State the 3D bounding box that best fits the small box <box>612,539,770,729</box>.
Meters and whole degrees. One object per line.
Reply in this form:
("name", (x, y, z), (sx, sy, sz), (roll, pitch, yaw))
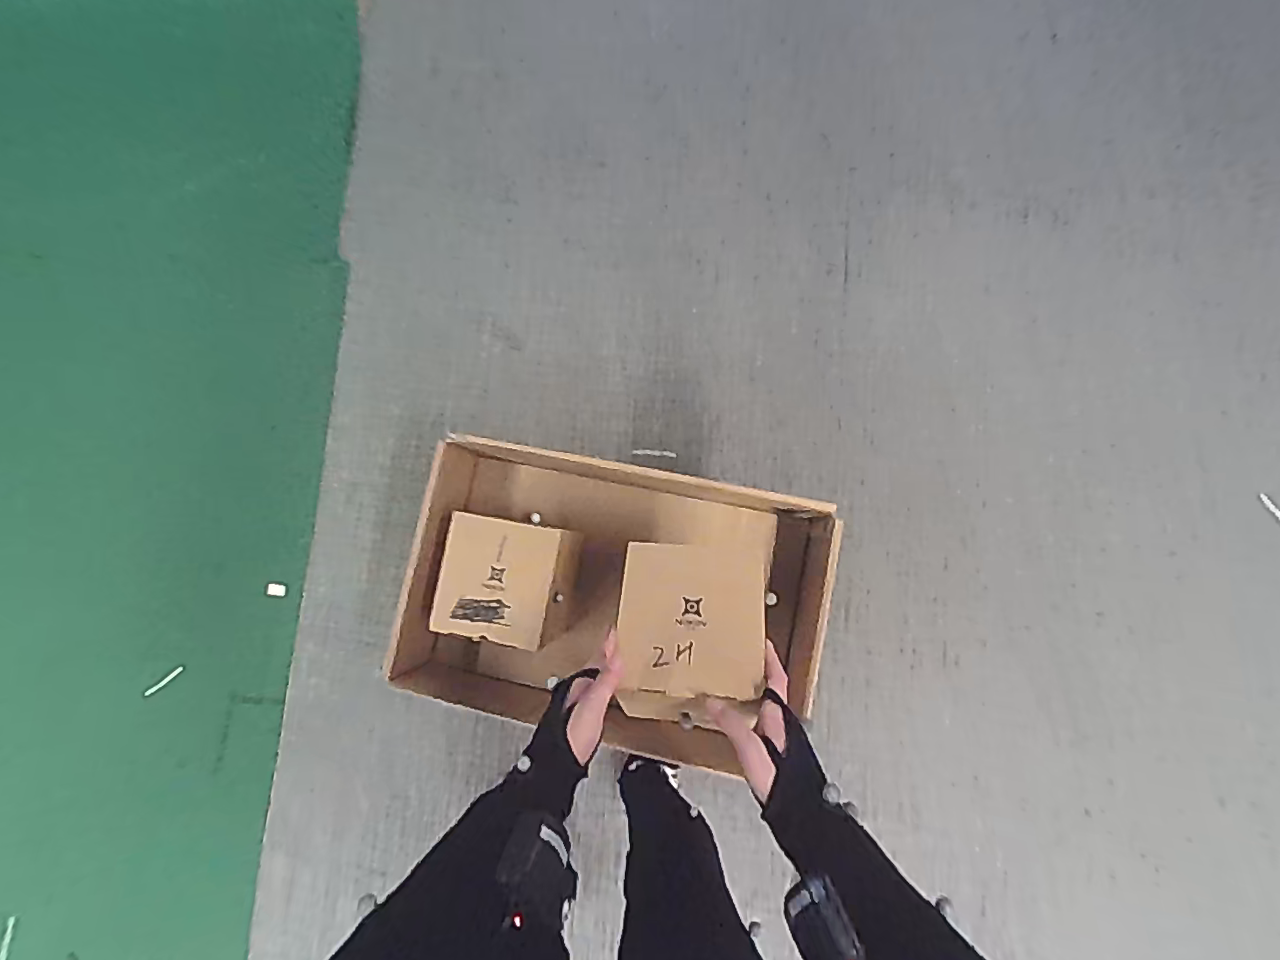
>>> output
("small box", (0.067, 0.192, 0.664), (0.168, 0.176, 0.179), (3, 58, 8))
